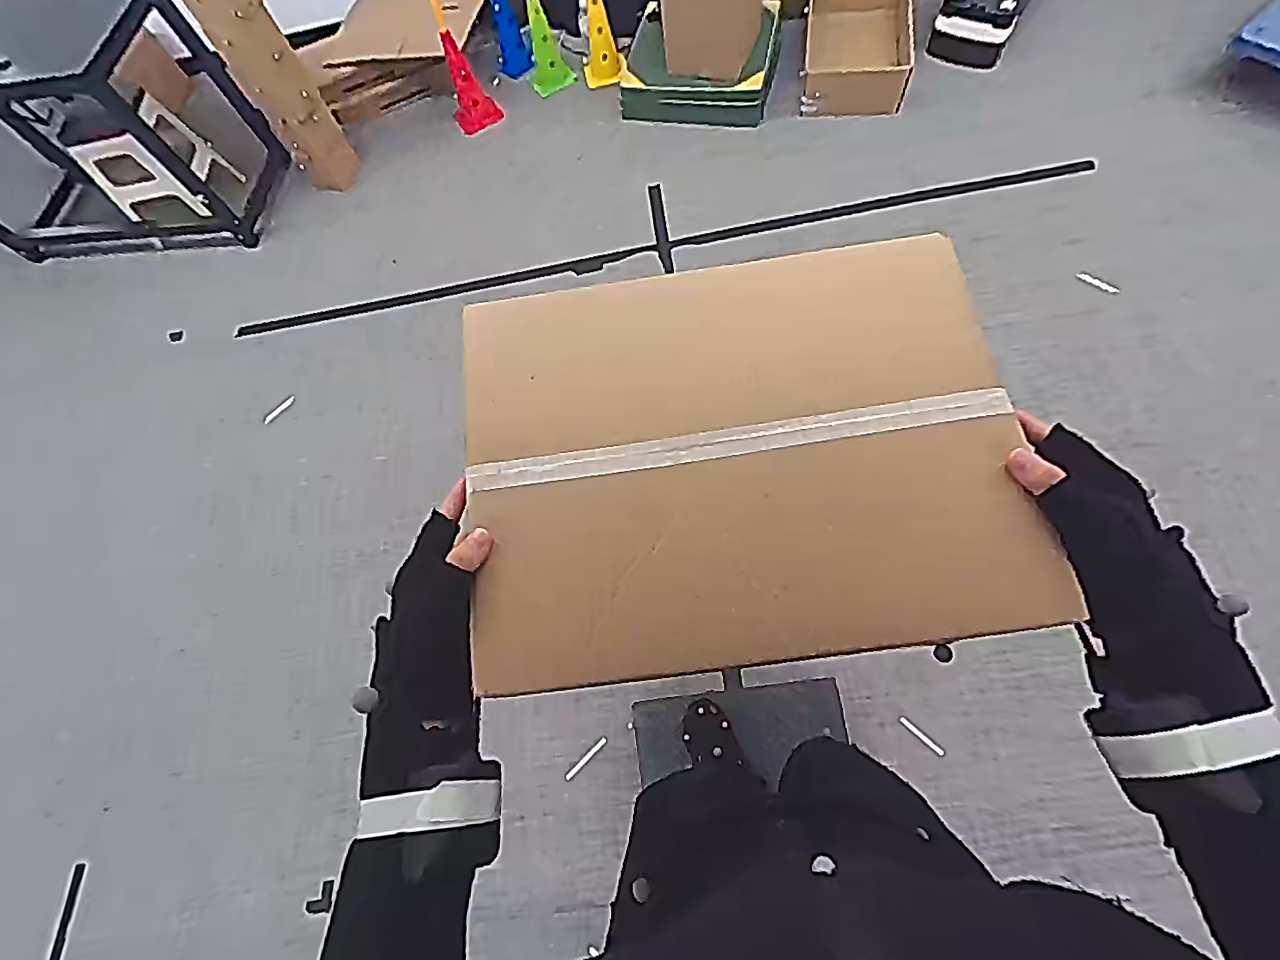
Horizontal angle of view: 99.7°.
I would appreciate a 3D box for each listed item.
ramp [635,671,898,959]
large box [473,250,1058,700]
[{"bbox_3d":[0.298,0.969,1.191,0.509,0.206,0.991,-10,67,3],"label":"ramp"},{"bbox_3d":[0.084,0.023,0.558,0.408,0.320,0.320,-8,71,2],"label":"large box"}]
